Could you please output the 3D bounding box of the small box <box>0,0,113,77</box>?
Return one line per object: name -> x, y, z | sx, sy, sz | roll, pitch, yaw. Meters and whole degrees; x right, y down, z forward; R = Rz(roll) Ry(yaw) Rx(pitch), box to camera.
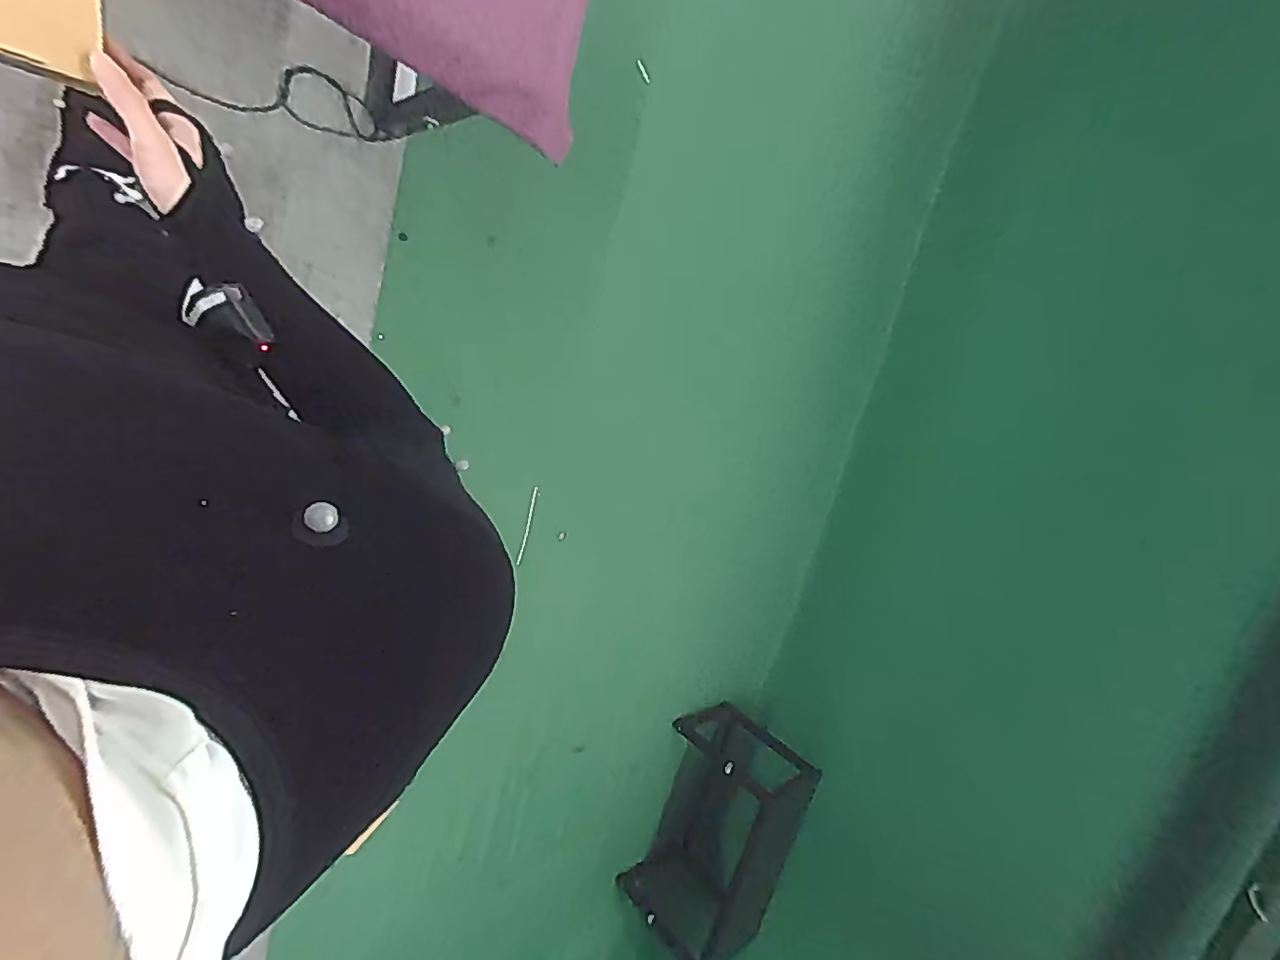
small box -> -0.488, -0.417, 0.374 | 0.168, 0.176, 0.179 | -4, 120, -46
